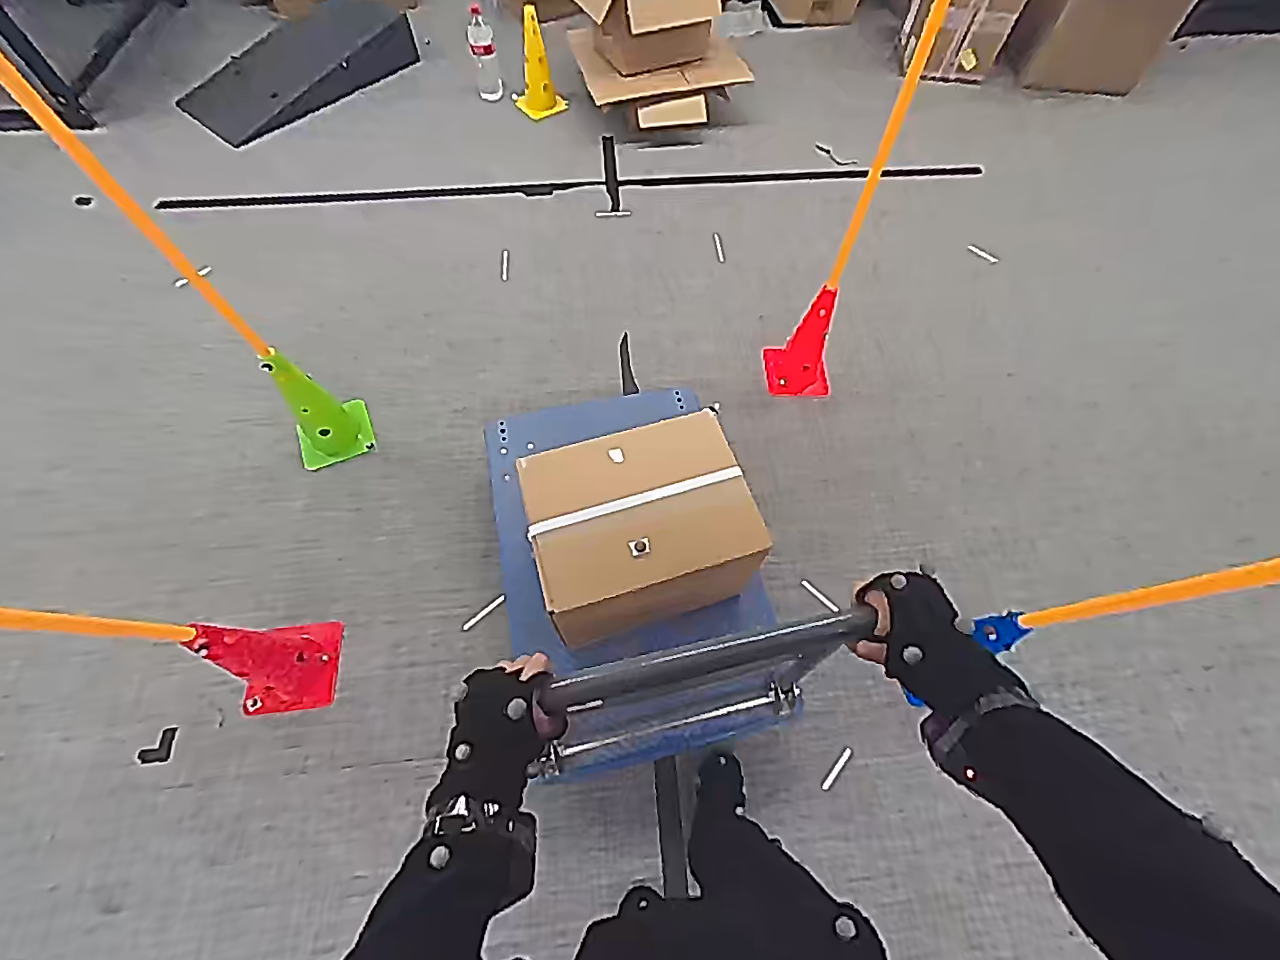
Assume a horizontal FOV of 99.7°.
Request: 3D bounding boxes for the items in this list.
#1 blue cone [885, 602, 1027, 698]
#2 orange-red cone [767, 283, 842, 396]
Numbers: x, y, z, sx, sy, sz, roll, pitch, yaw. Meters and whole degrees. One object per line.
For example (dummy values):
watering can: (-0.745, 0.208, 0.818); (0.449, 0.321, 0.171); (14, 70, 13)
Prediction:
blue cone: (0.730, 0.353, 1.202); (0.193, 0.380, 0.192); (-7, 61, -6)
orange-red cone: (0.521, -0.435, 1.607); (0.199, 0.360, 0.198); (2, 62, -1)
